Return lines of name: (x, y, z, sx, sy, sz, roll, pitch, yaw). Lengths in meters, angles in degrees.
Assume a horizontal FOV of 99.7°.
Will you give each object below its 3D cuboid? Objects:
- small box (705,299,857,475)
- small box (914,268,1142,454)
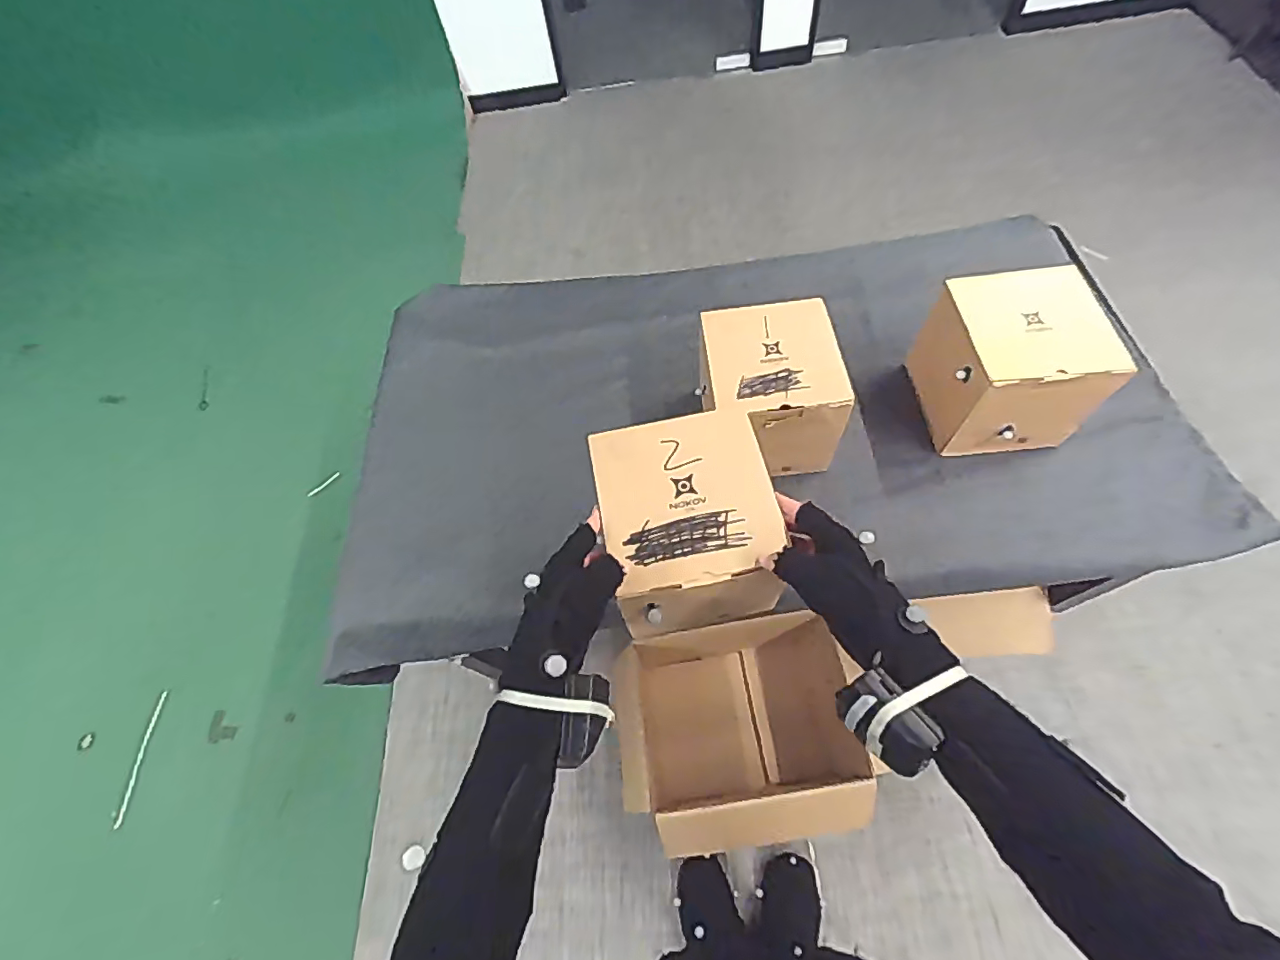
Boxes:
small box: (0.181, -0.117, 0.748, 0.168, 0.176, 0.179, -6, 60, 4)
small box: (0.498, -0.155, 0.732, 0.168, 0.176, 0.179, -5, 63, 4)
